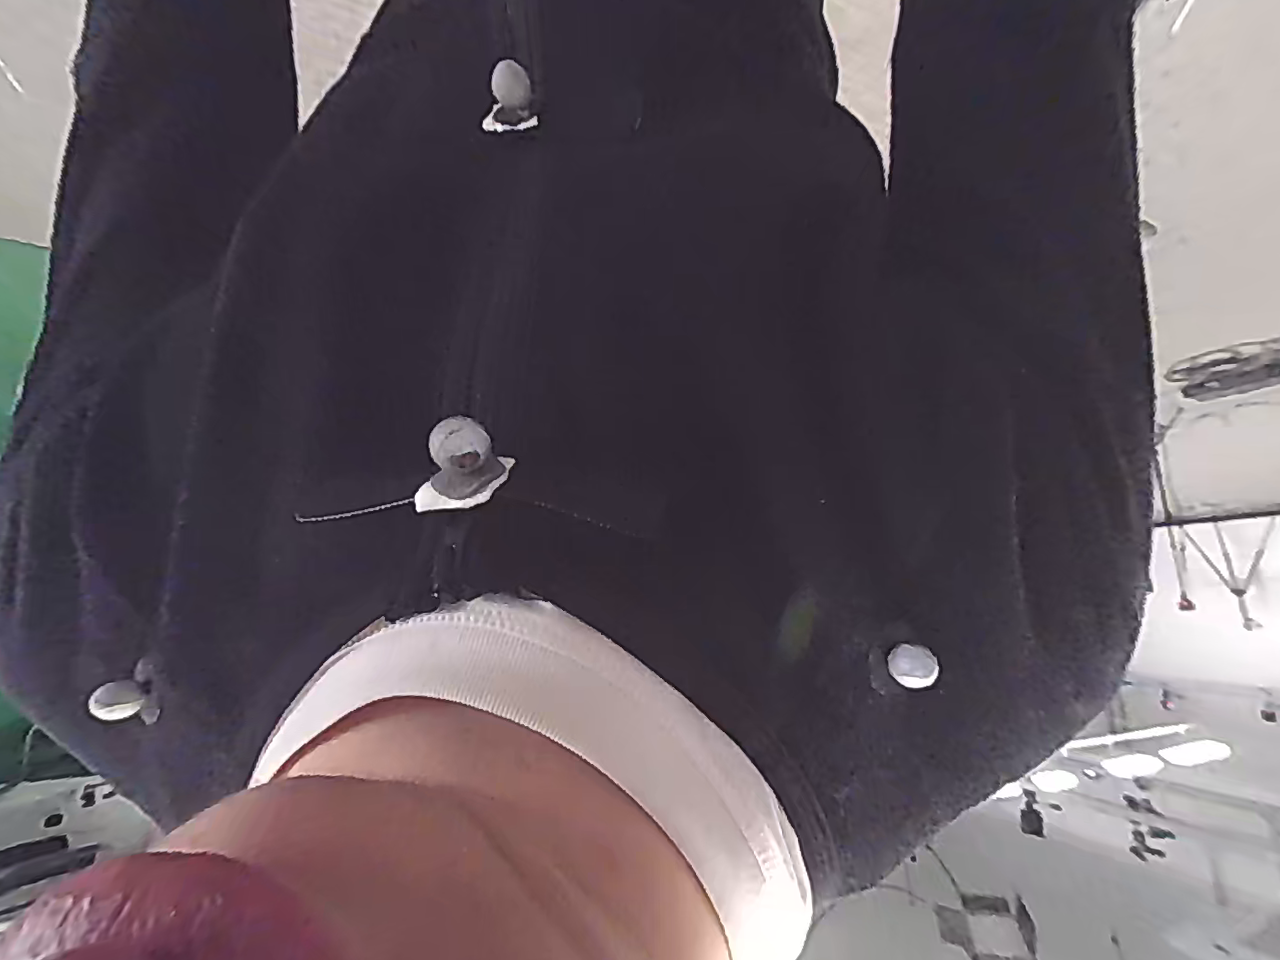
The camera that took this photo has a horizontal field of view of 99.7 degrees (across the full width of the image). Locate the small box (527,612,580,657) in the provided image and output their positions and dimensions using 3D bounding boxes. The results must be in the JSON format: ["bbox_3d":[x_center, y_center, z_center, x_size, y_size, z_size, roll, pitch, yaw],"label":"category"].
[{"bbox_3d":[-0.355,0.639,2.242,0.179,0.176,0.168,9,162,-25],"label":"small box"}]
